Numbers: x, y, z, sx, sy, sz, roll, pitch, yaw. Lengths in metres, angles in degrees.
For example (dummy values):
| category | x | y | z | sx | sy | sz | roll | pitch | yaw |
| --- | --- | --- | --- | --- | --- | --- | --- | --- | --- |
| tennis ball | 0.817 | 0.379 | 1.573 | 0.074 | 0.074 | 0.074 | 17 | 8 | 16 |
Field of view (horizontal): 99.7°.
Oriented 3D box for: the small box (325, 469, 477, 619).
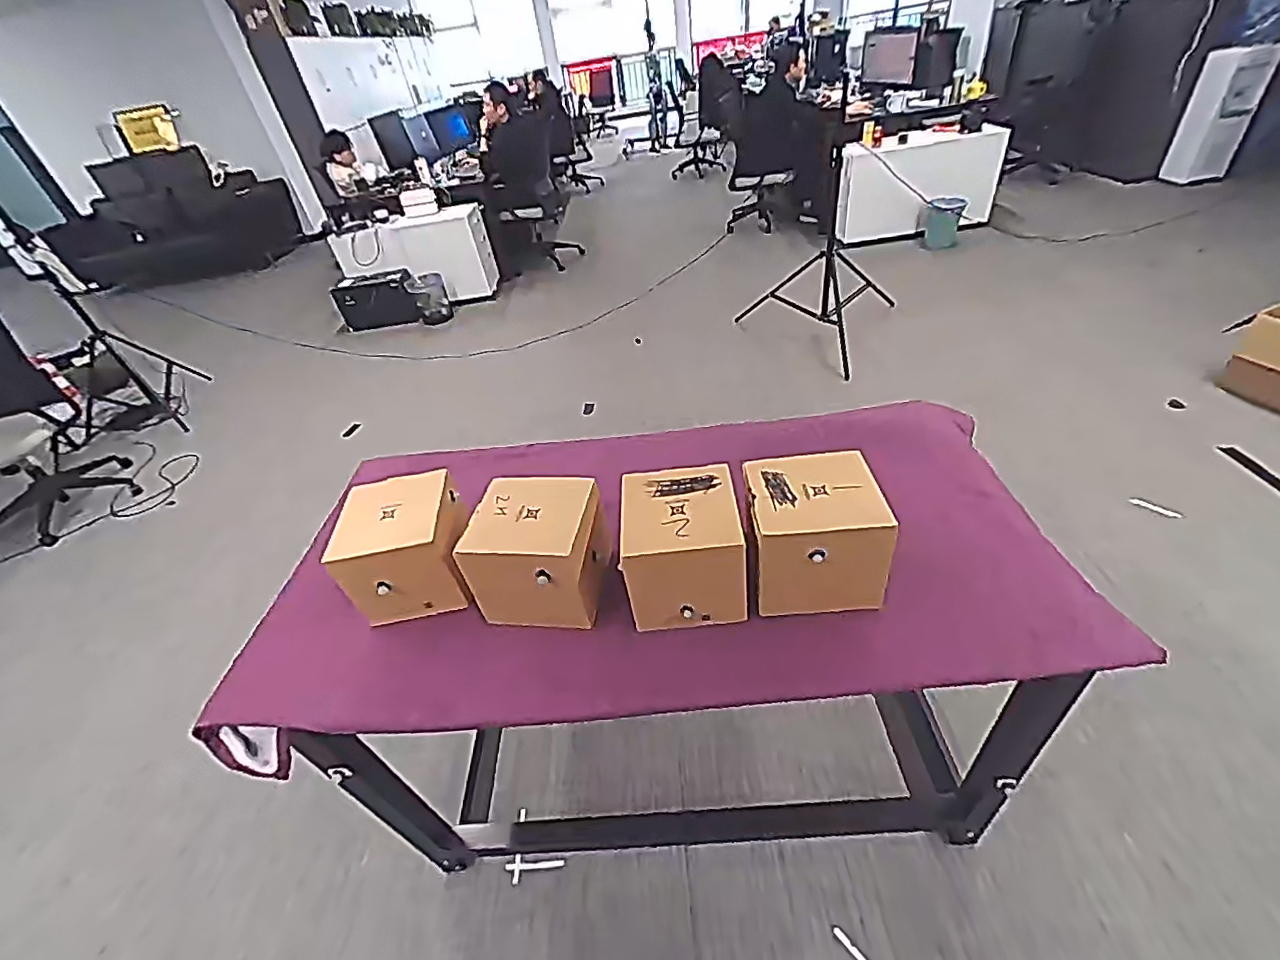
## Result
| category | x | y | z | sx | sy | sz | roll | pitch | yaw |
| --- | --- | --- | --- | --- | --- | --- | --- | --- | --- |
| small box | -0.382 | 0.113 | 0.904 | 0.168 | 0.176 | 0.179 | -12 | 40 | -2 |
